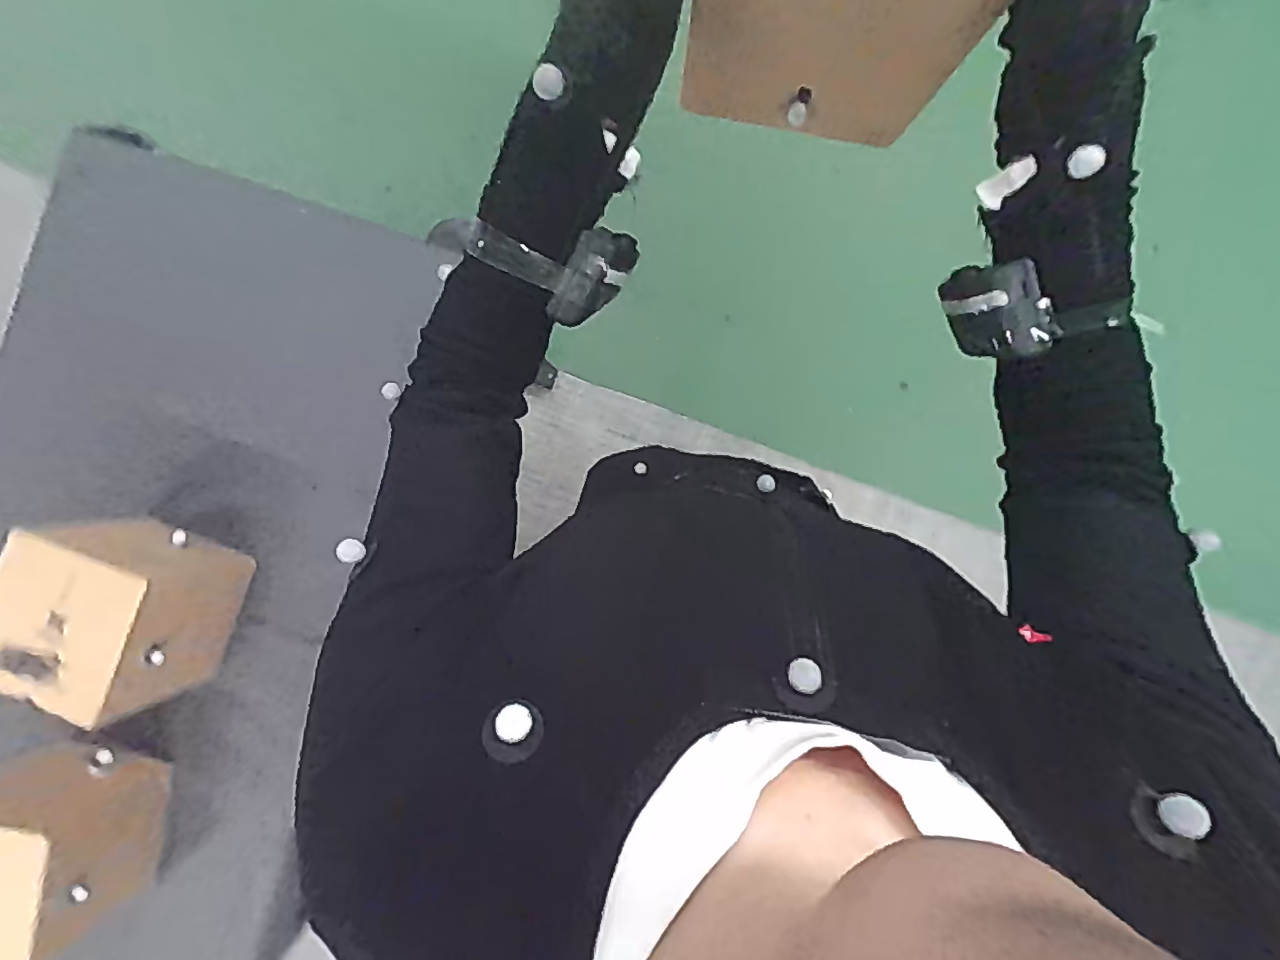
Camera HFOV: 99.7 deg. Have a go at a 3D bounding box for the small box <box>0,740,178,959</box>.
[{"bbox_3d":[-0.739,0.466,0.683,0.168,0.176,0.179,10,90,0],"label":"small box"}]

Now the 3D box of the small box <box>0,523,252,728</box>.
[{"bbox_3d":[-0.638,0.166,0.677,0.168,0.176,0.179,20,90,1],"label":"small box"}]
